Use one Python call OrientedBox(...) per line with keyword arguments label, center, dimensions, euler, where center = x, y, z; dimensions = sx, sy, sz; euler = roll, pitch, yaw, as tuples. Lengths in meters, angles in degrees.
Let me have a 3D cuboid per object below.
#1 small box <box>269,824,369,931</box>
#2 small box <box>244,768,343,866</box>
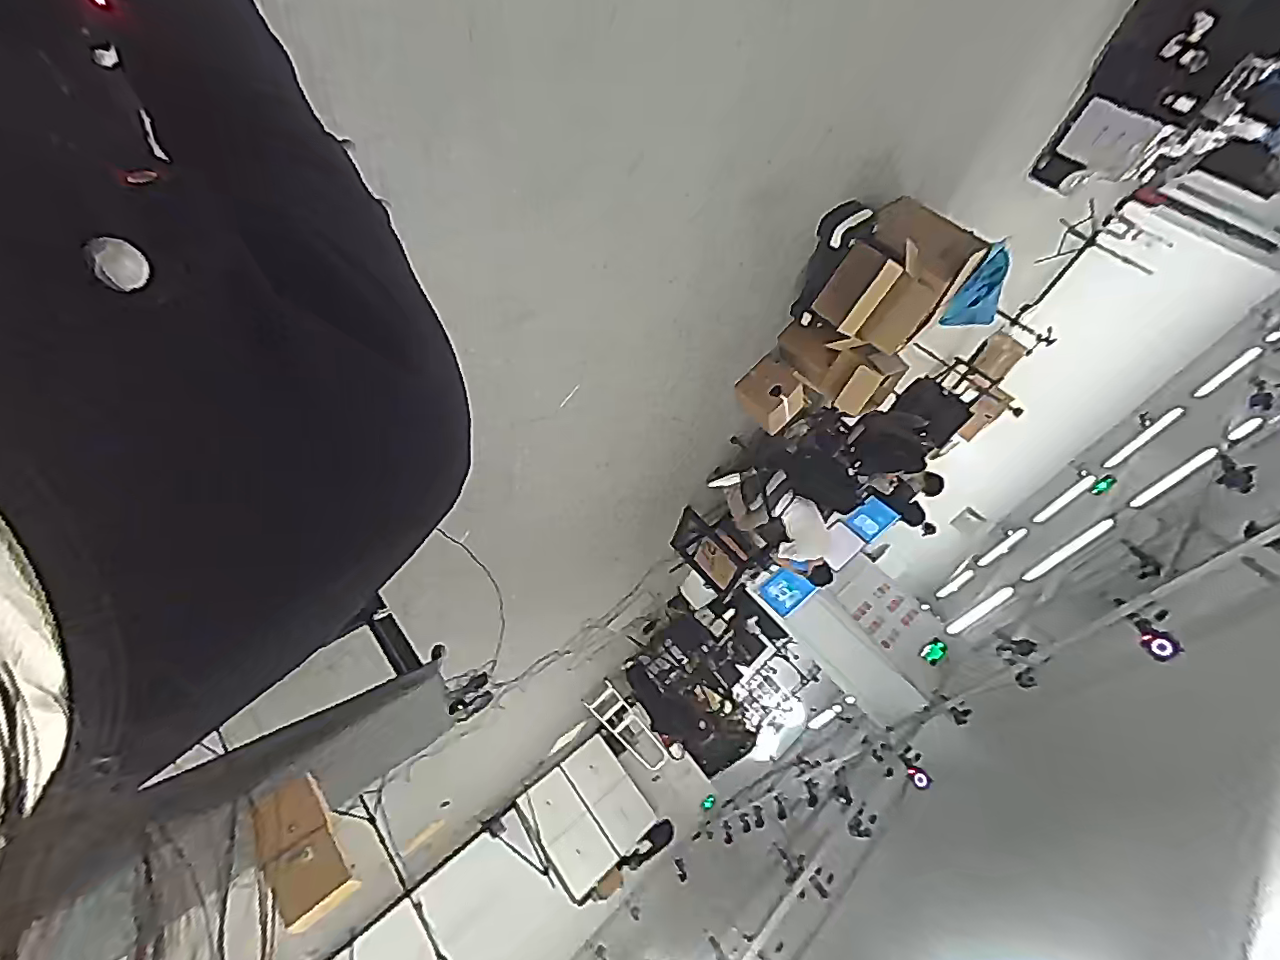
OrientedBox(label="small box", center=(-0.875, 1.085, 1.482), dimensions=(0.168, 0.176, 0.179), euler=(-30, 152, -34))
OrientedBox(label="small box", center=(-0.989, 0.968, 1.552), dimensions=(0.179, 0.176, 0.168), euler=(-27, 151, -34))
